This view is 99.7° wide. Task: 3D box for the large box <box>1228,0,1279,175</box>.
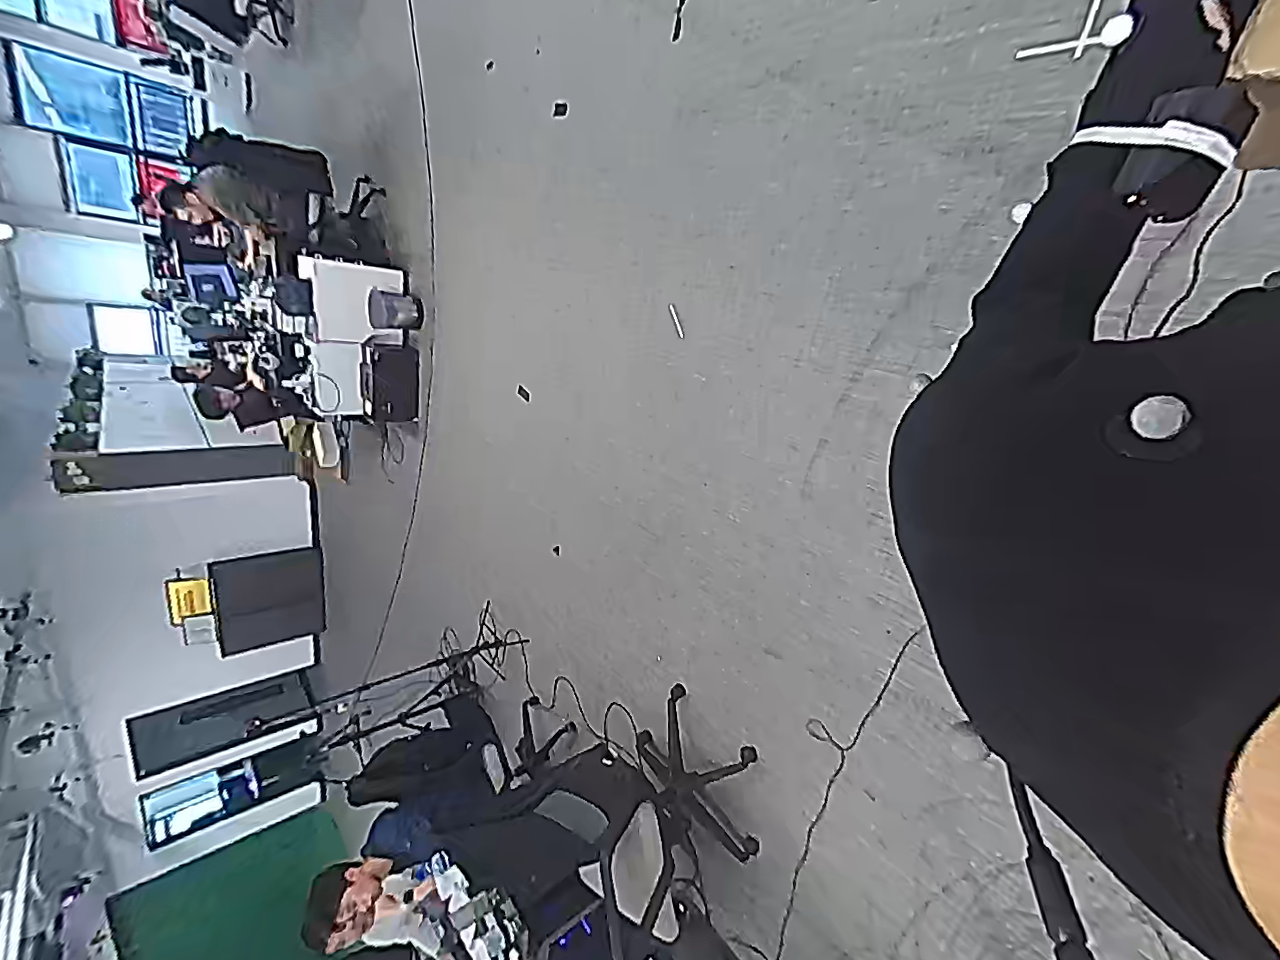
[{"bbox_3d":[0.637,-0.350,0.265,0.408,0.320,0.320,29,123,40],"label":"large box"}]
